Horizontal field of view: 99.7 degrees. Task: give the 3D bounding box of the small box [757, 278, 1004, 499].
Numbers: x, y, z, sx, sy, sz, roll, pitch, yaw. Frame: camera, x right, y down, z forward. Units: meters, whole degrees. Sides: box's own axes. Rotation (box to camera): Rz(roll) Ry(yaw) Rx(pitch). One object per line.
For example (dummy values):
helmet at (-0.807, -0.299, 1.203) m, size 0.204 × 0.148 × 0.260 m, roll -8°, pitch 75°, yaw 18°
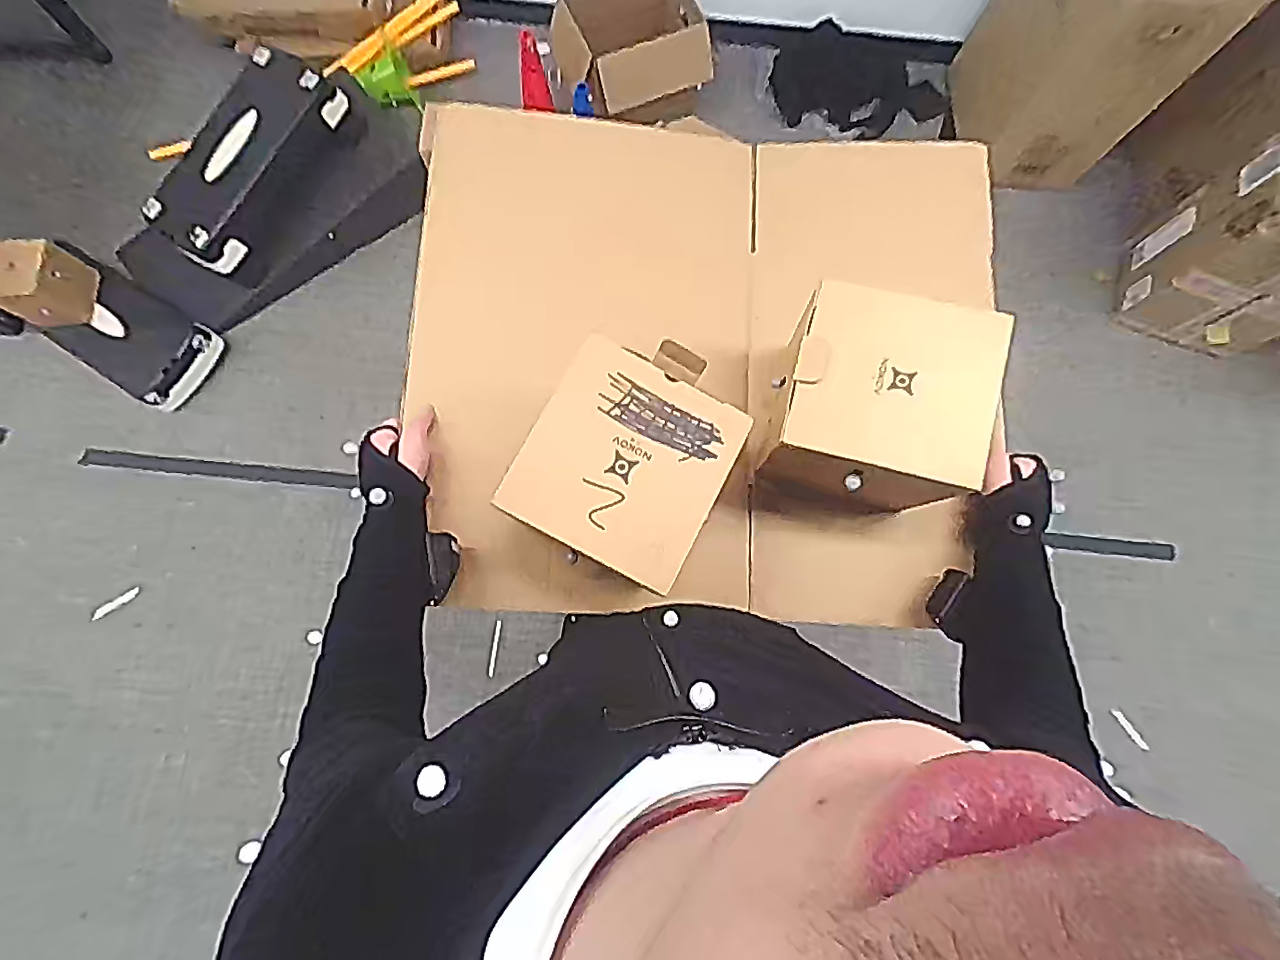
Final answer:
small box at (0.237, -0.082, 0.575) m, size 0.179 × 0.176 × 0.168 m, roll 15°, pitch 82°, yaw 7°
